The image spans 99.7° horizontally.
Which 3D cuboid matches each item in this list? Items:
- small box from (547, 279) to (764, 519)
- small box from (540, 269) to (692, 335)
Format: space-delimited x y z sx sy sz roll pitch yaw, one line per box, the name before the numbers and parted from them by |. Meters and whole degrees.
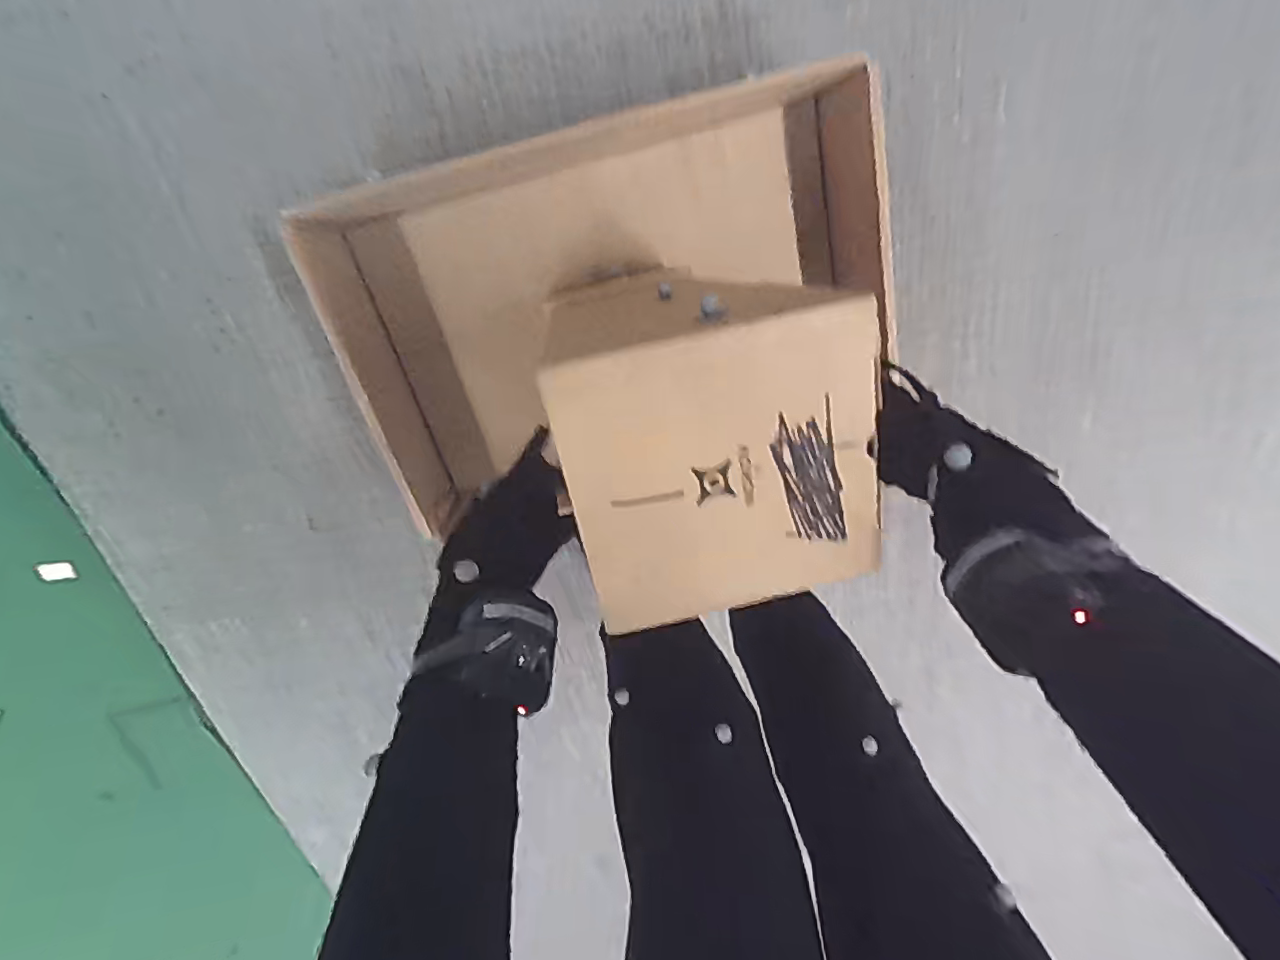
small box | 0.011 -0.088 0.526 0.168 0.176 0.179 -12 114 -3
small box | -0.018 -0.156 0.672 0.168 0.176 0.179 -15 112 -2
